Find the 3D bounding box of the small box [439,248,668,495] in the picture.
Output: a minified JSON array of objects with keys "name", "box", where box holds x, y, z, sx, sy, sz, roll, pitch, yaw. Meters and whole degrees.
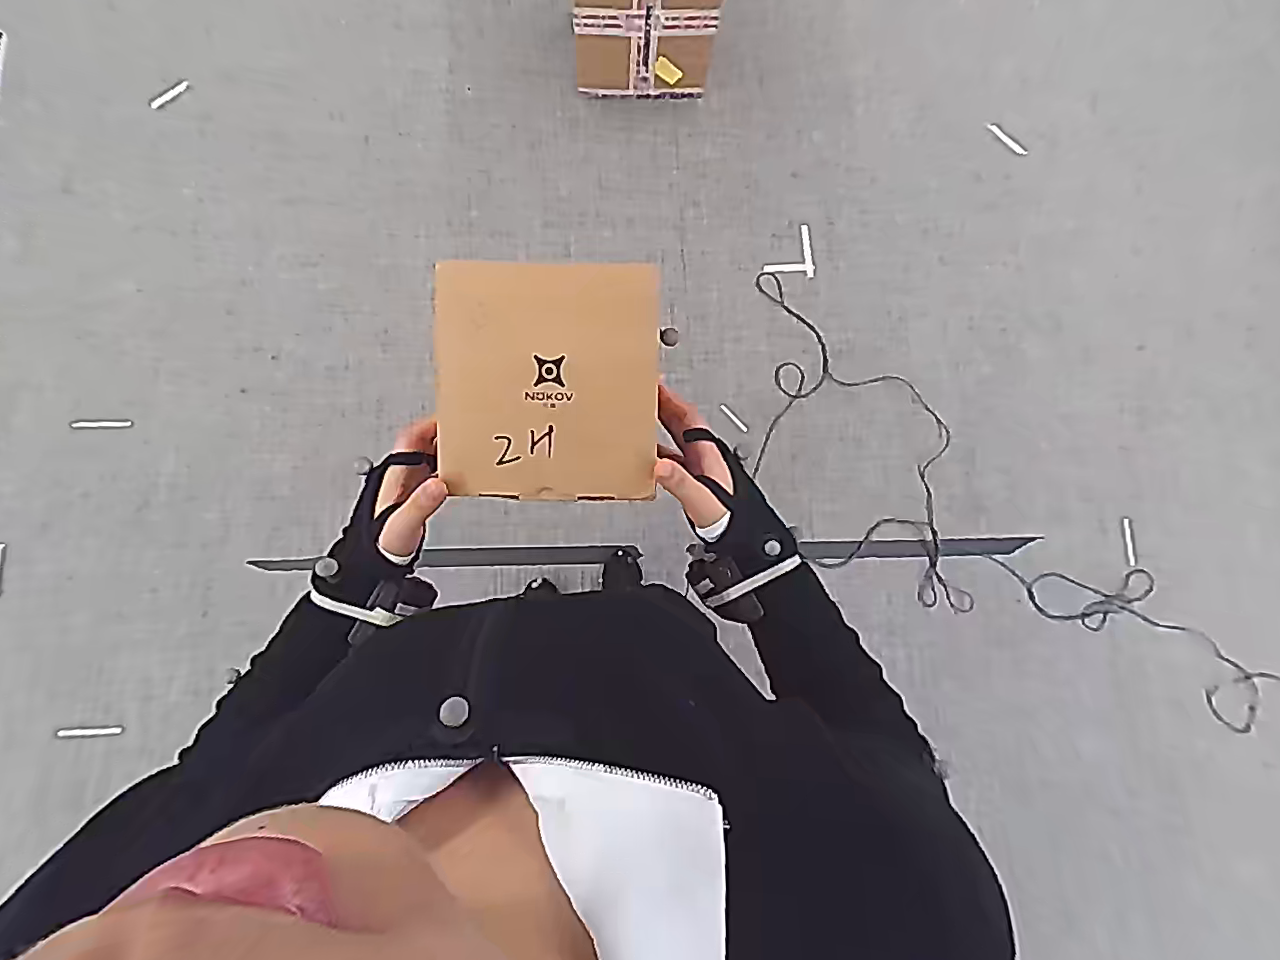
[{"name":"small box","box":[-0.067,-0.084,0.478,0.168,0.176,0.179,2,96,-1]}]
